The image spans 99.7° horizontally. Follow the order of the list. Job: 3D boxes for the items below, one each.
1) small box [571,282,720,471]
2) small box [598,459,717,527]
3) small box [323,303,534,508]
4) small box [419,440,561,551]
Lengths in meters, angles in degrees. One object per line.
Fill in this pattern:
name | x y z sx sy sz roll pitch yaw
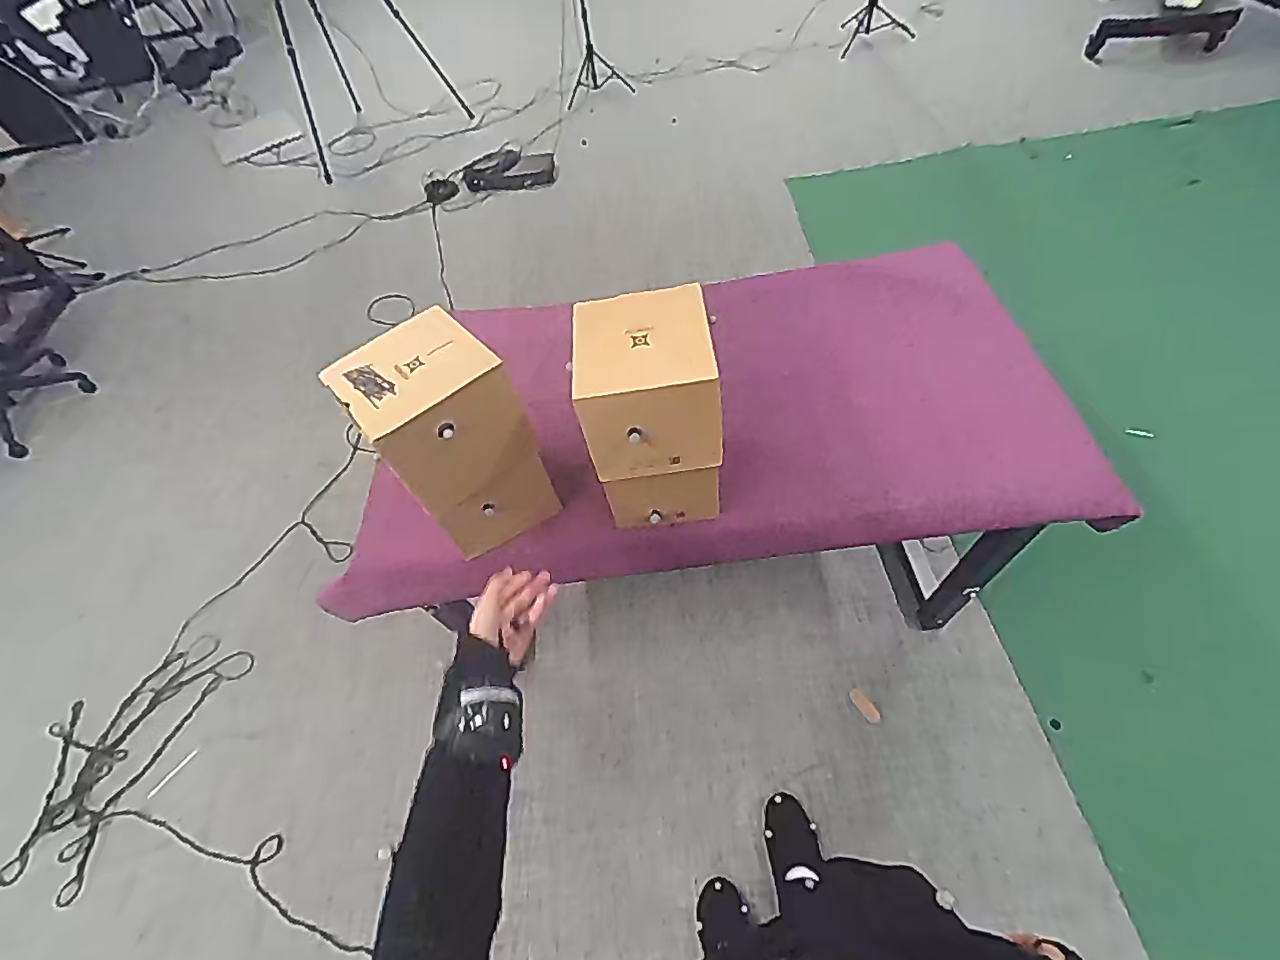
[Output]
small box | 0.012 -0.125 0.706 0.168 0.176 0.179 -8 53 5
small box | 0.029 -0.047 0.849 0.168 0.176 0.179 -7 55 4
small box | -0.270 -0.095 0.721 0.179 0.176 0.168 -38 59 -18
small box | -0.250 -0.015 0.865 0.179 0.176 0.168 -28 57 -11
